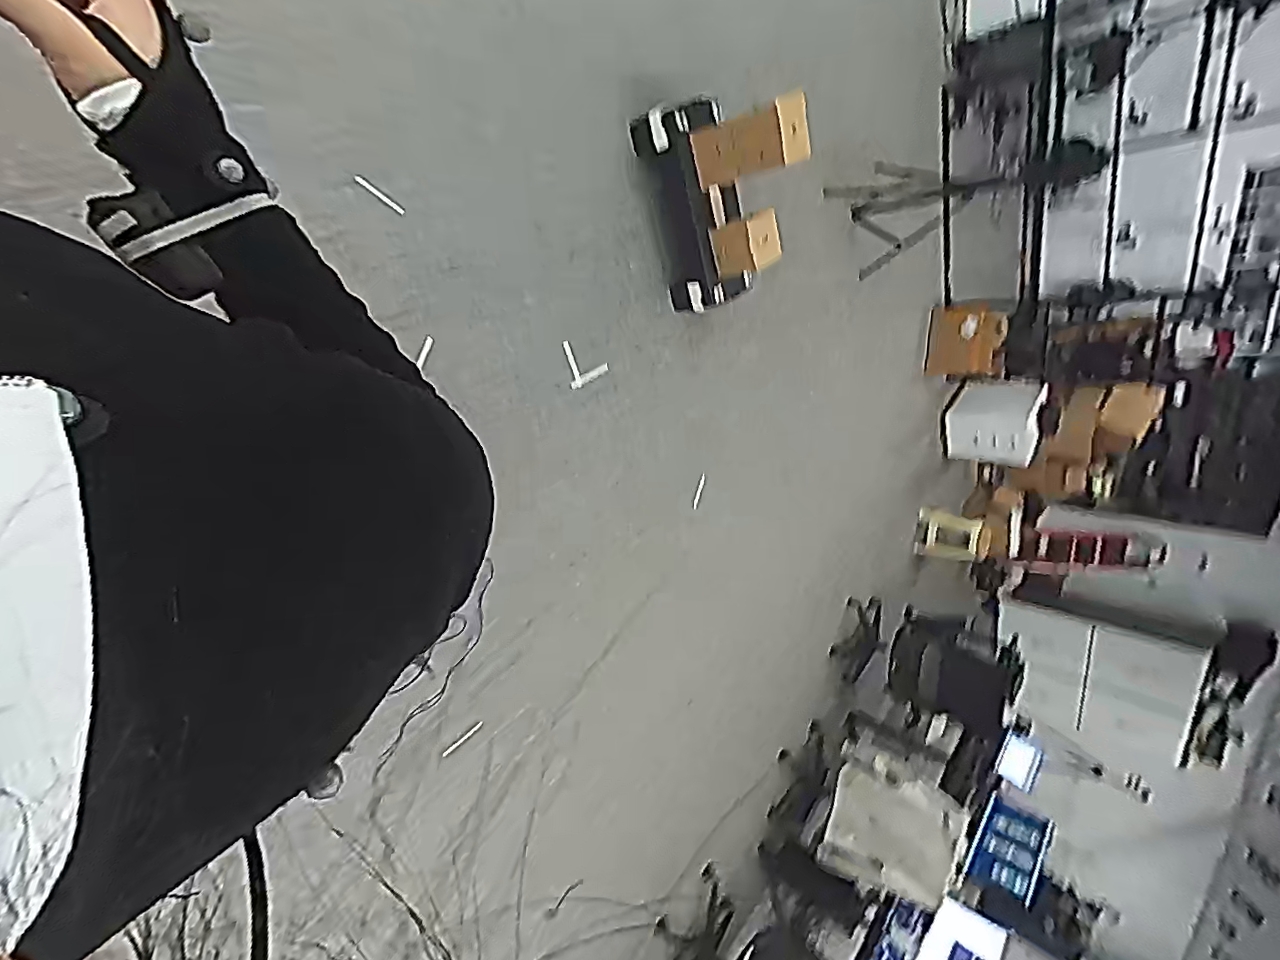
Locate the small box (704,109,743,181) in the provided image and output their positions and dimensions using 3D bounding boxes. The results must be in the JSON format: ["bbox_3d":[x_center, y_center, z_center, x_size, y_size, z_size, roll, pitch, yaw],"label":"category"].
[{"bbox_3d":[0.281,-1.118,1.802,0.168,0.176,0.179,-39,123,-32],"label":"small box"}]

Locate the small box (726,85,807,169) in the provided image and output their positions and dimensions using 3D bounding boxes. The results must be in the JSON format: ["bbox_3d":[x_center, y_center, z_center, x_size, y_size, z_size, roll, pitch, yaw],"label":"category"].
[{"bbox_3d":[0.393,-1.092,1.685,0.168,0.176,0.179,-40,125,-32],"label":"small box"}]

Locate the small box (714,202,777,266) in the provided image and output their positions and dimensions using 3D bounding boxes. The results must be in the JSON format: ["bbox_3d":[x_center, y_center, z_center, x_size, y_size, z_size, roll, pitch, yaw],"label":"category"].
[{"bbox_3d":[0.363,-0.873,1.933,0.179,0.176,0.168,-38,122,-32],"label":"small box"}]
